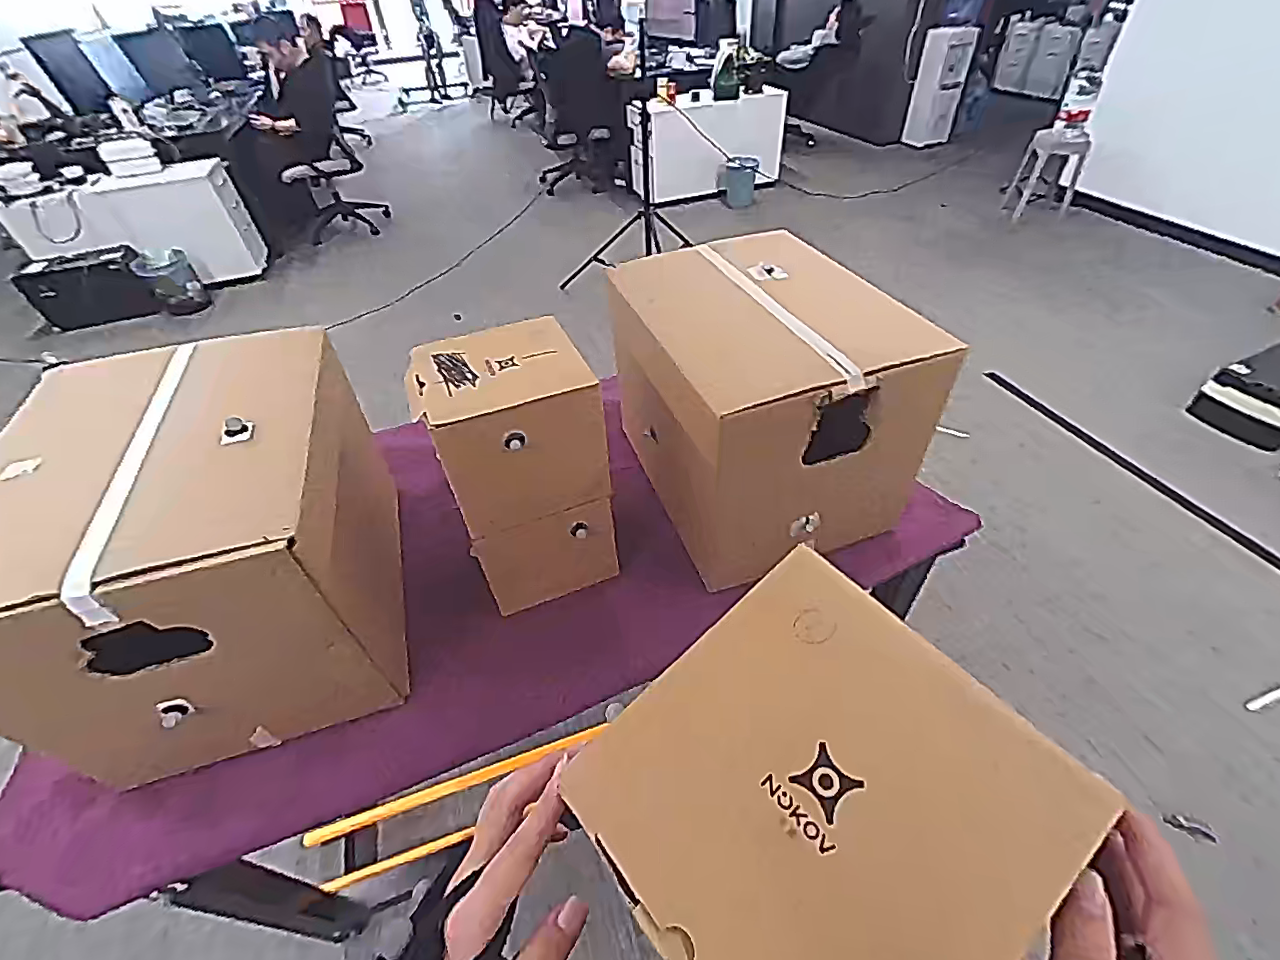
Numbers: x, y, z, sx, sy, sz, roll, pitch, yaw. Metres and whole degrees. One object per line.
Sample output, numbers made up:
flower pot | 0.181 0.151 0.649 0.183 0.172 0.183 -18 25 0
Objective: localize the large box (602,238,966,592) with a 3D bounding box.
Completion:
large box | 0.164 -0.115 0.803 0.320 0.320 0.408 -16 44 -12
